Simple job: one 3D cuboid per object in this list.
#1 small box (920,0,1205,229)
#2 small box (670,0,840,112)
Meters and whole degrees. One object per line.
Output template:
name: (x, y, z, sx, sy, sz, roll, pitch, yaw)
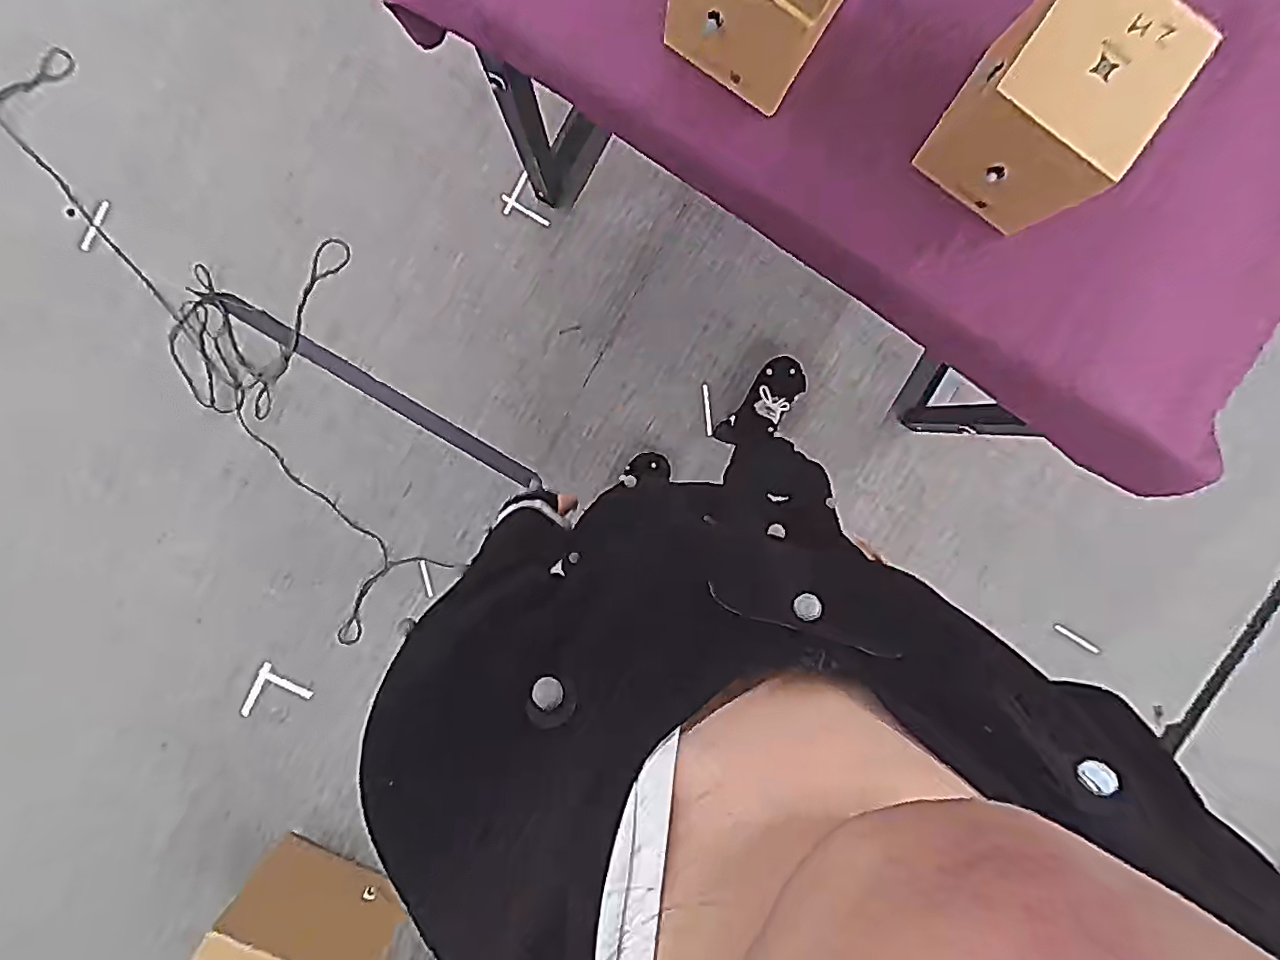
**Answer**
small box: (0.471, -0.436, 0.640, 0.168, 0.176, 0.179, 33, 94, -6)
small box: (0.145, -0.576, 0.614, 0.168, 0.176, 0.179, 31, 93, -5)
